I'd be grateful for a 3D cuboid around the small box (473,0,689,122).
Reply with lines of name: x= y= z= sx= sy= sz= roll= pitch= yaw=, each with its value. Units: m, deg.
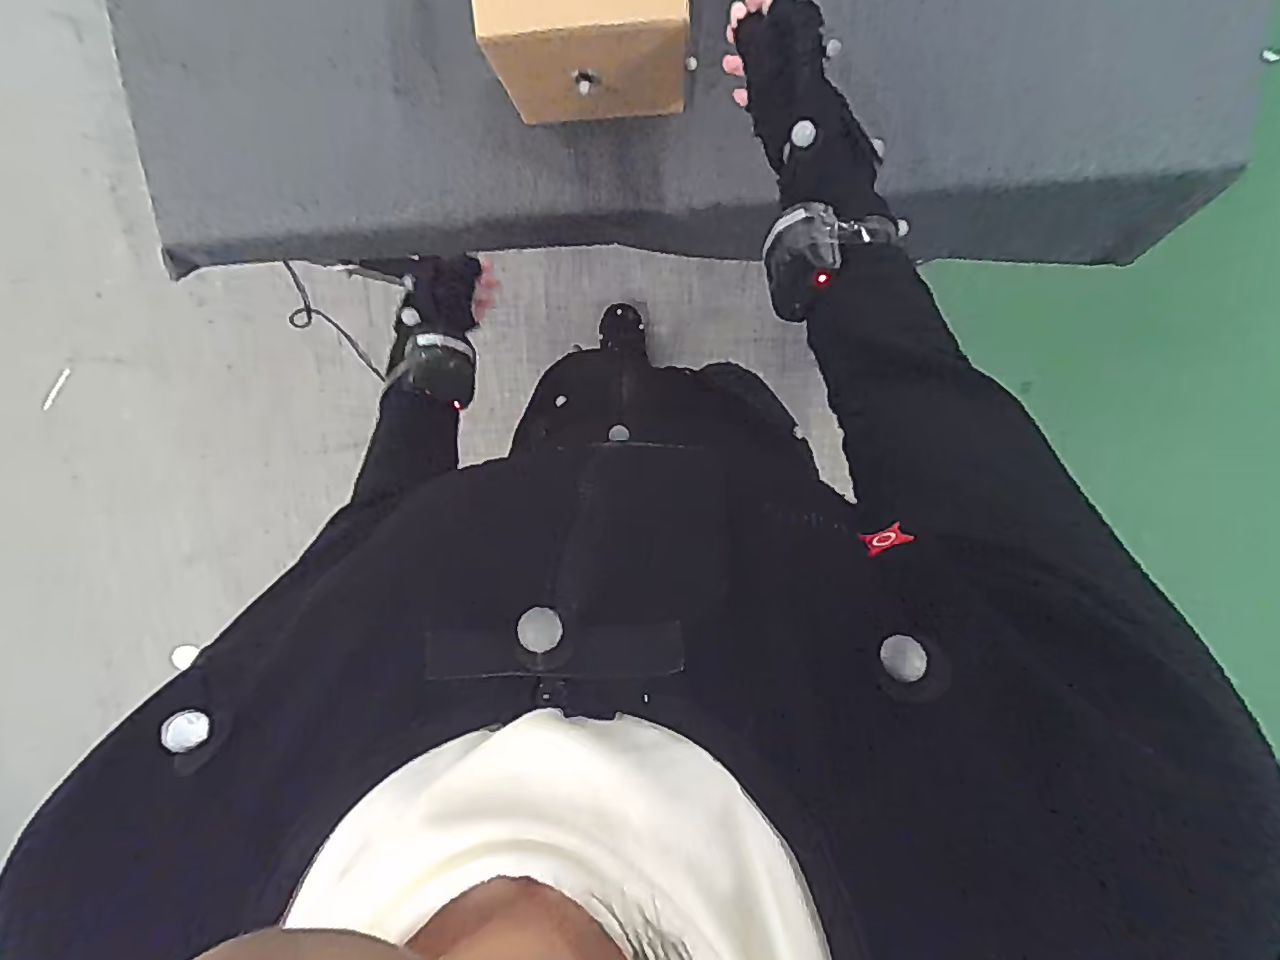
small box: x=-0.048 y=-0.459 z=0.498 sx=0.179 sy=0.176 sz=0.168 roll=-2 pitch=102 yaw=4
